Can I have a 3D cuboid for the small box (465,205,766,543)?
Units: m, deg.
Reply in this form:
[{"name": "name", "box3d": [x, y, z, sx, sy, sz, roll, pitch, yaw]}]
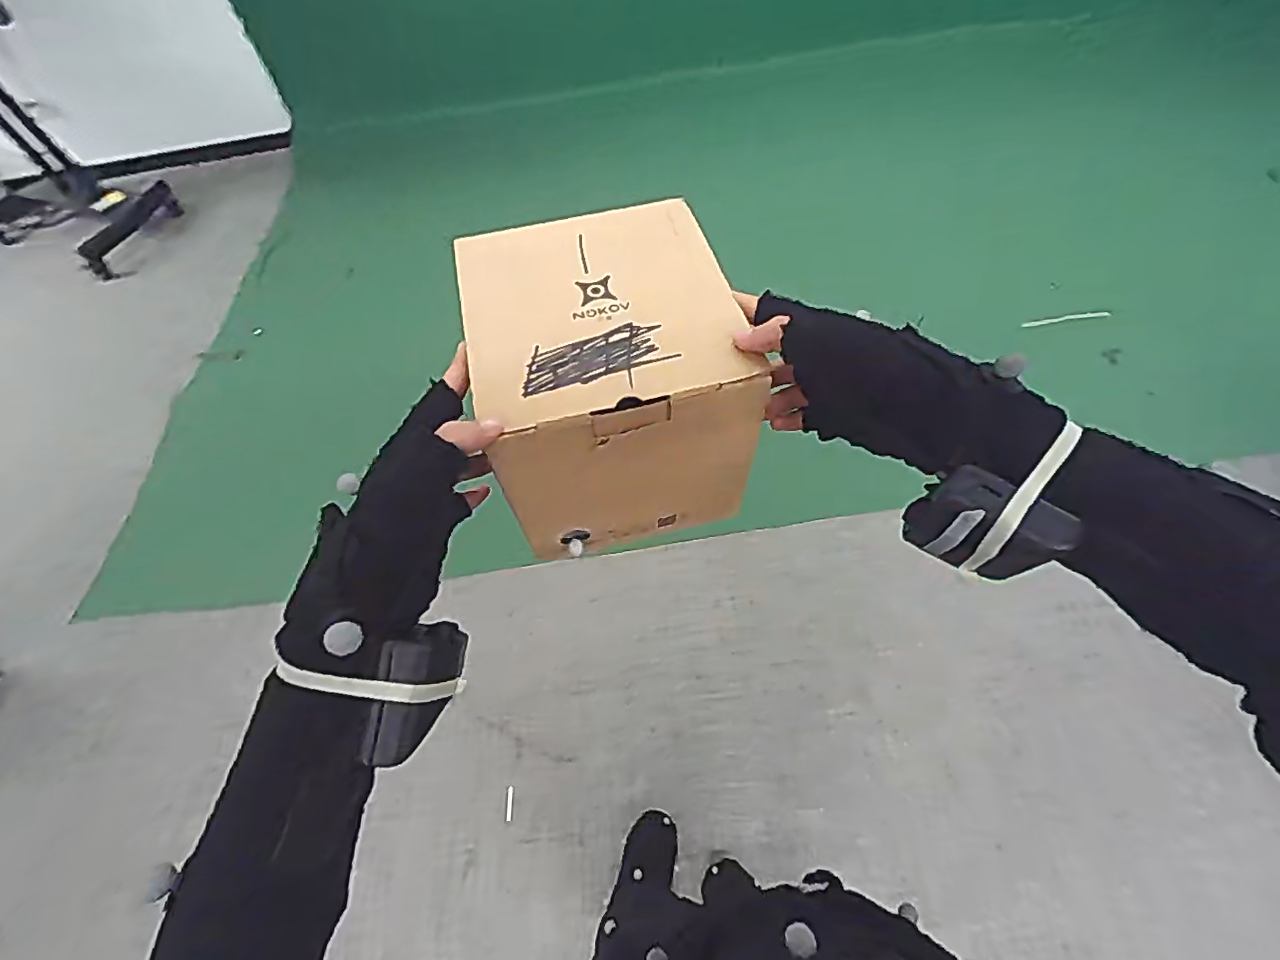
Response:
[{"name": "small box", "box3d": [-0.020, -0.067, 0.407, 0.168, 0.176, 0.179, -13, 59, -5]}]
